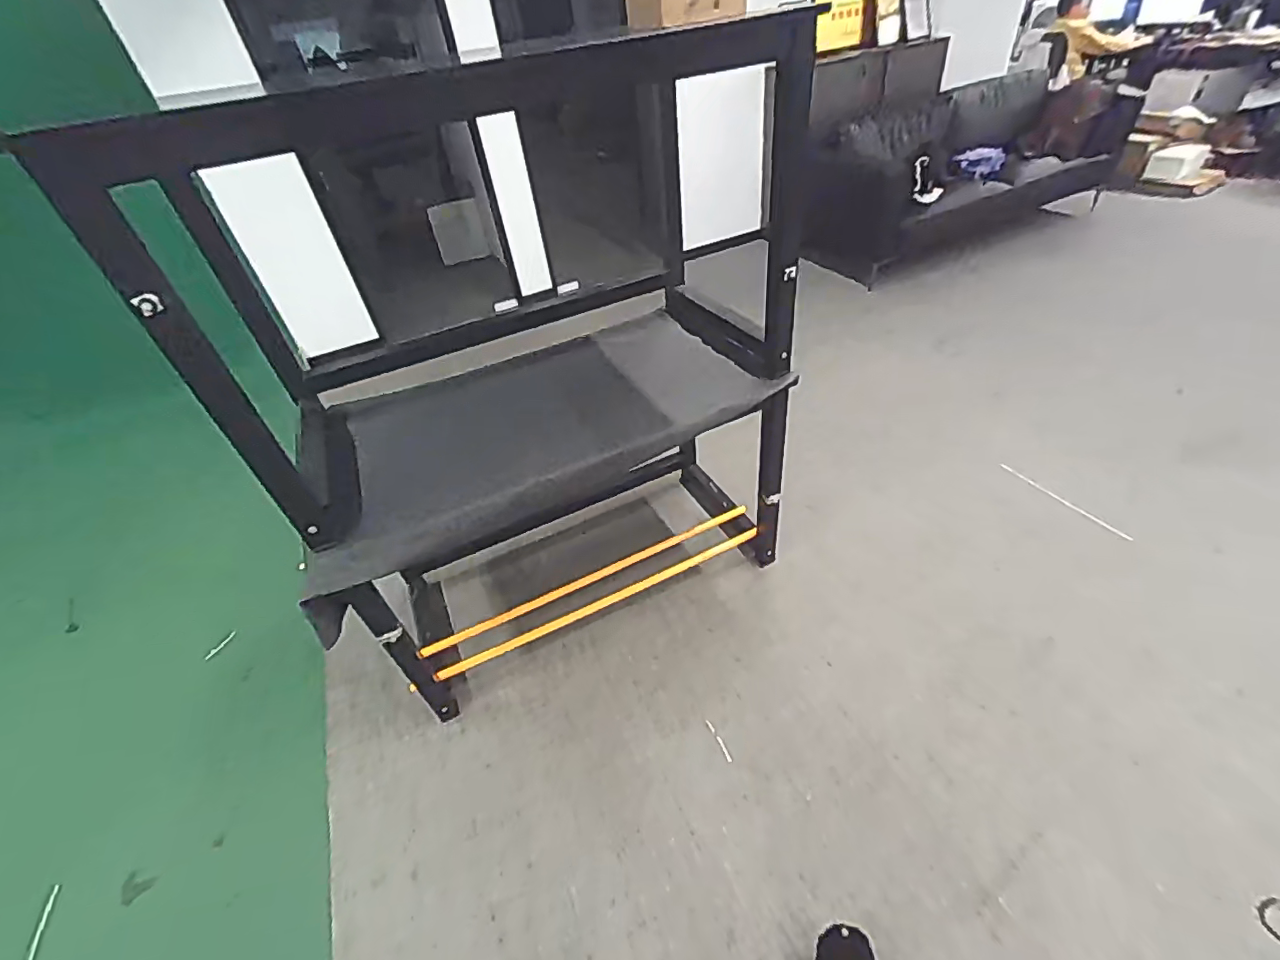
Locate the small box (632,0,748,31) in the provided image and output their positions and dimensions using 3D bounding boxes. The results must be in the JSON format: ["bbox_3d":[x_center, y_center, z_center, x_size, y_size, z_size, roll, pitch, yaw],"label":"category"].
[{"bbox_3d":[0.082,-0.909,0.951,0.168,0.176,0.179,-19,42,-11],"label":"small box"}]
